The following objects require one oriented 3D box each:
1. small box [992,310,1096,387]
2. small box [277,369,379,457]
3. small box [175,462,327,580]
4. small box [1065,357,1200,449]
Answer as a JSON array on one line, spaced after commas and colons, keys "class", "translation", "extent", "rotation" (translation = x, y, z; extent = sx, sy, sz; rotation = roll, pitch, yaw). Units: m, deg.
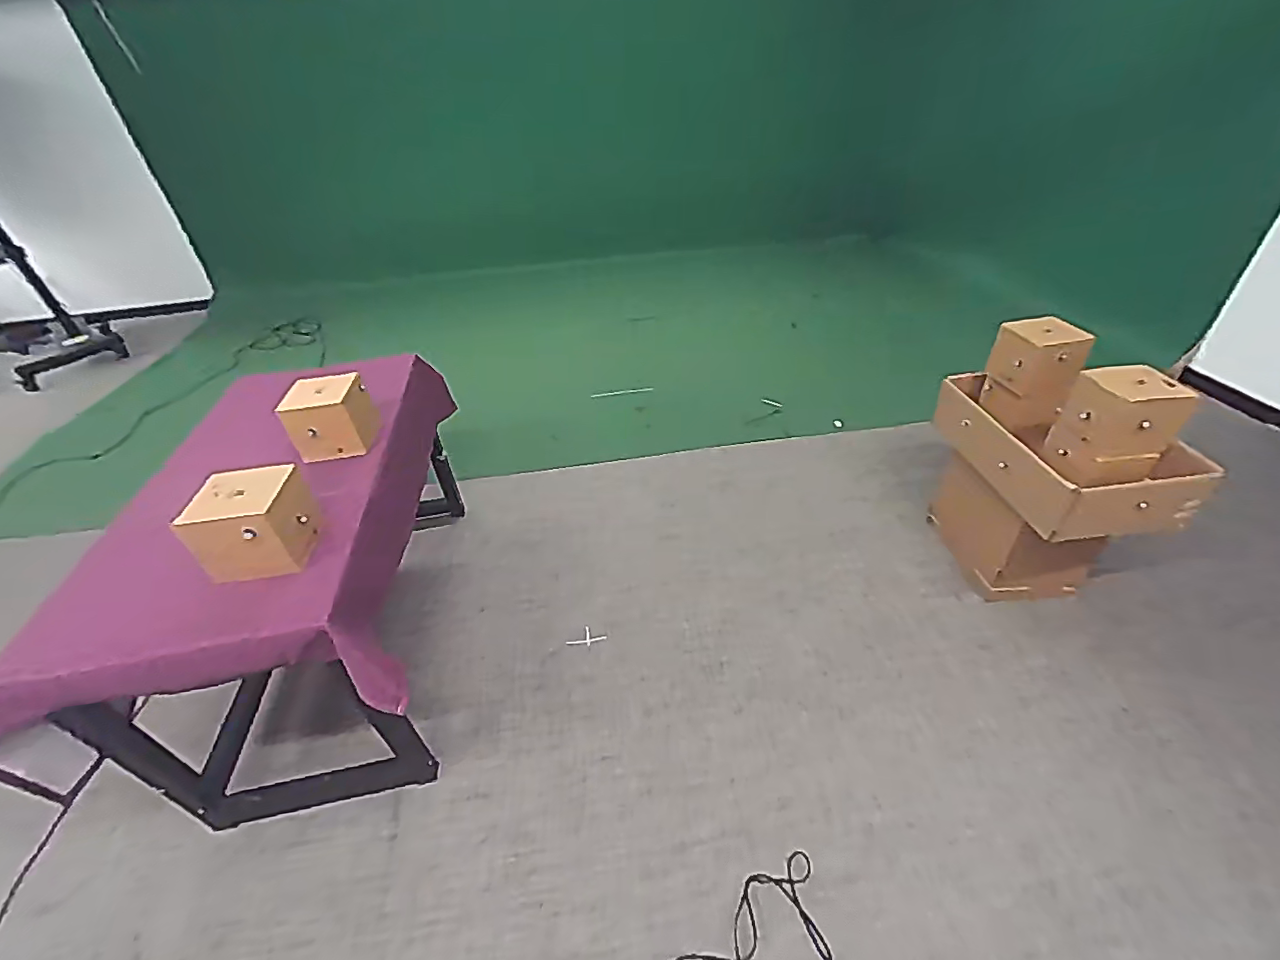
[{"class": "small box", "translation": [1.206, -0.394, 1.635], "extent": [0.179, 0.176, 0.168], "rotation": [-9, 40, -5]}, {"class": "small box", "translation": [-0.833, -0.176, 1.467], "extent": [0.168, 0.176, 0.179], "rotation": [-9, 38, -4]}, {"class": "small box", "translation": [-0.795, 0.087, 1.132], "extent": [0.179, 0.176, 0.168], "rotation": [-8, 38, -3]}, {"class": "small box", "translation": [1.237, -0.193, 1.381], "extent": [0.179, 0.176, 0.168], "rotation": [-6, 39, 0]}]
